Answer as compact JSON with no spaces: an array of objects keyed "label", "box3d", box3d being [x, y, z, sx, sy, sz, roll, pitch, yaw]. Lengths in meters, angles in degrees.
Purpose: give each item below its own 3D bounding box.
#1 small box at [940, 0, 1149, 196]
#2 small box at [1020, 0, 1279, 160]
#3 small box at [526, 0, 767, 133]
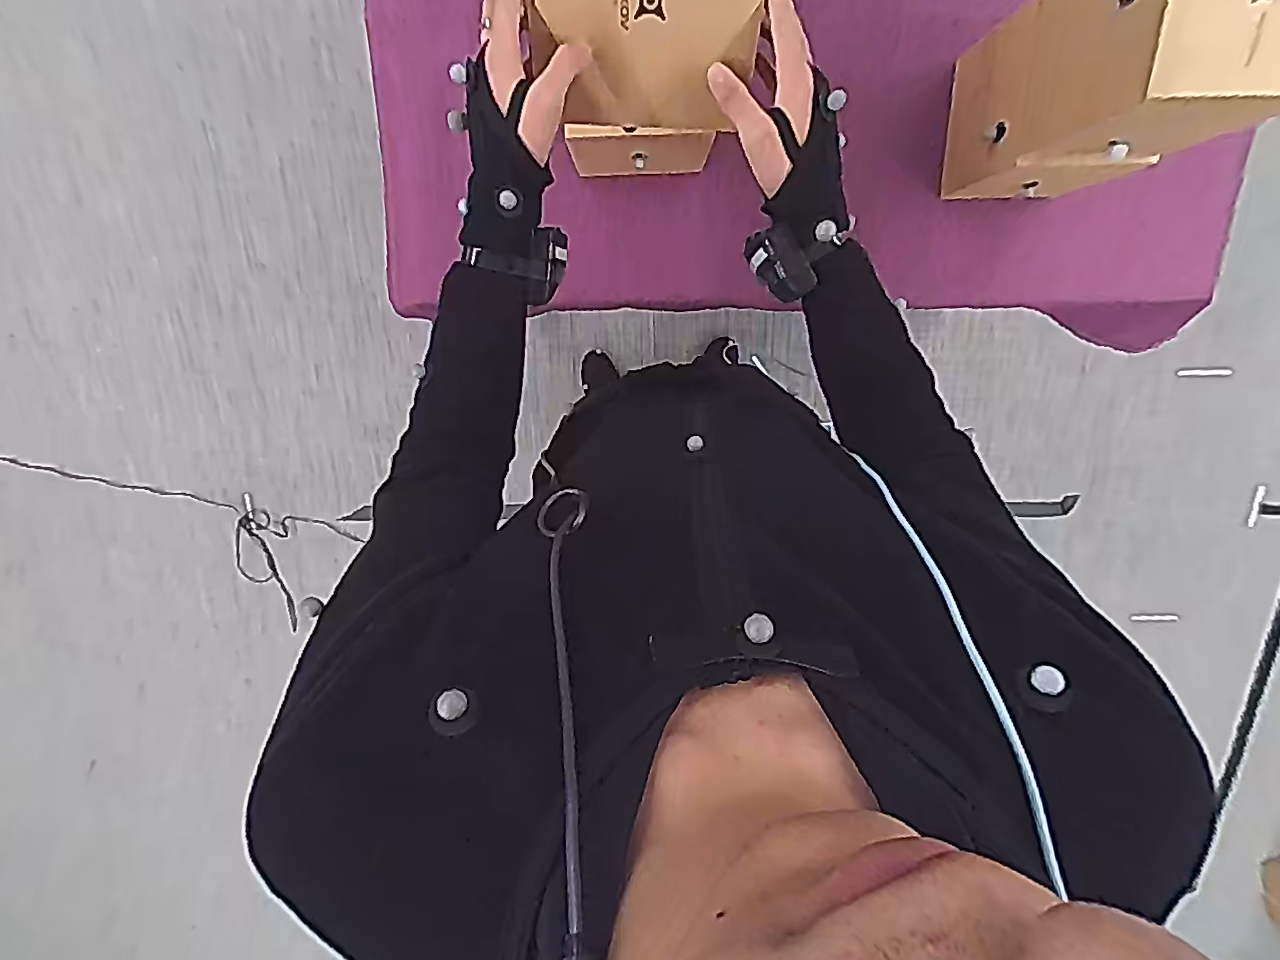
[{"label":"small box","box3d":[0.511,-0.470,0.686,0.168,0.176,0.179,-1,106,0]},{"label":"small box","box3d":[0.513,-0.434,0.525,0.168,0.176,0.179,0,106,0]},{"label":"small box","box3d":[0.004,-0.407,0.435,0.179,0.176,0.168,2,142,-2]}]
